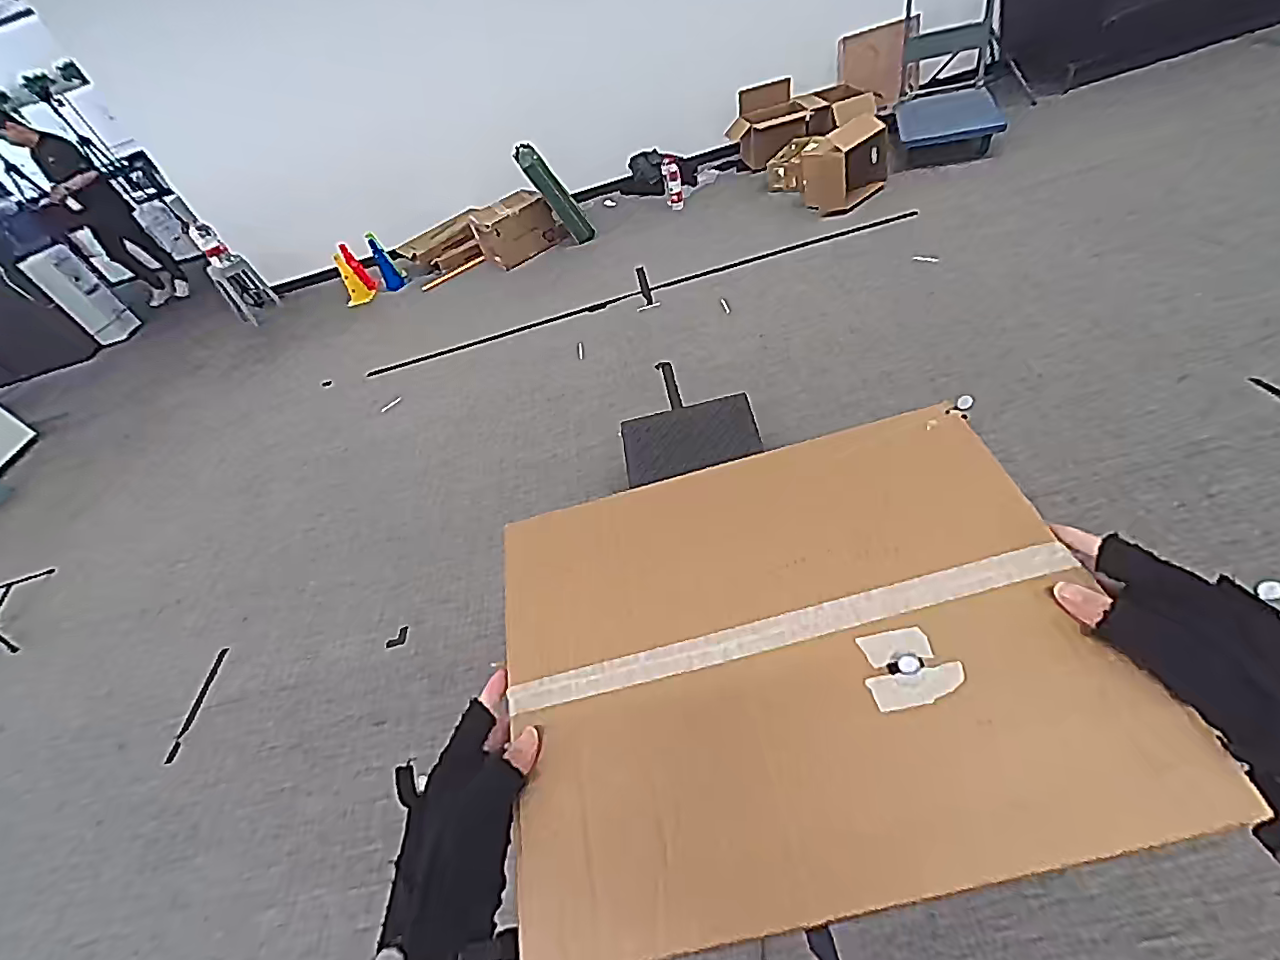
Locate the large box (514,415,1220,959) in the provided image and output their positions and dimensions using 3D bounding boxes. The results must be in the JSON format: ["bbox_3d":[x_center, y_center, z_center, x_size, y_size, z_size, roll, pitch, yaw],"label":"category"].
[{"bbox_3d":[0.132,0.199,0.512,0.408,0.320,0.320,-16,53,2],"label":"large box"}]
